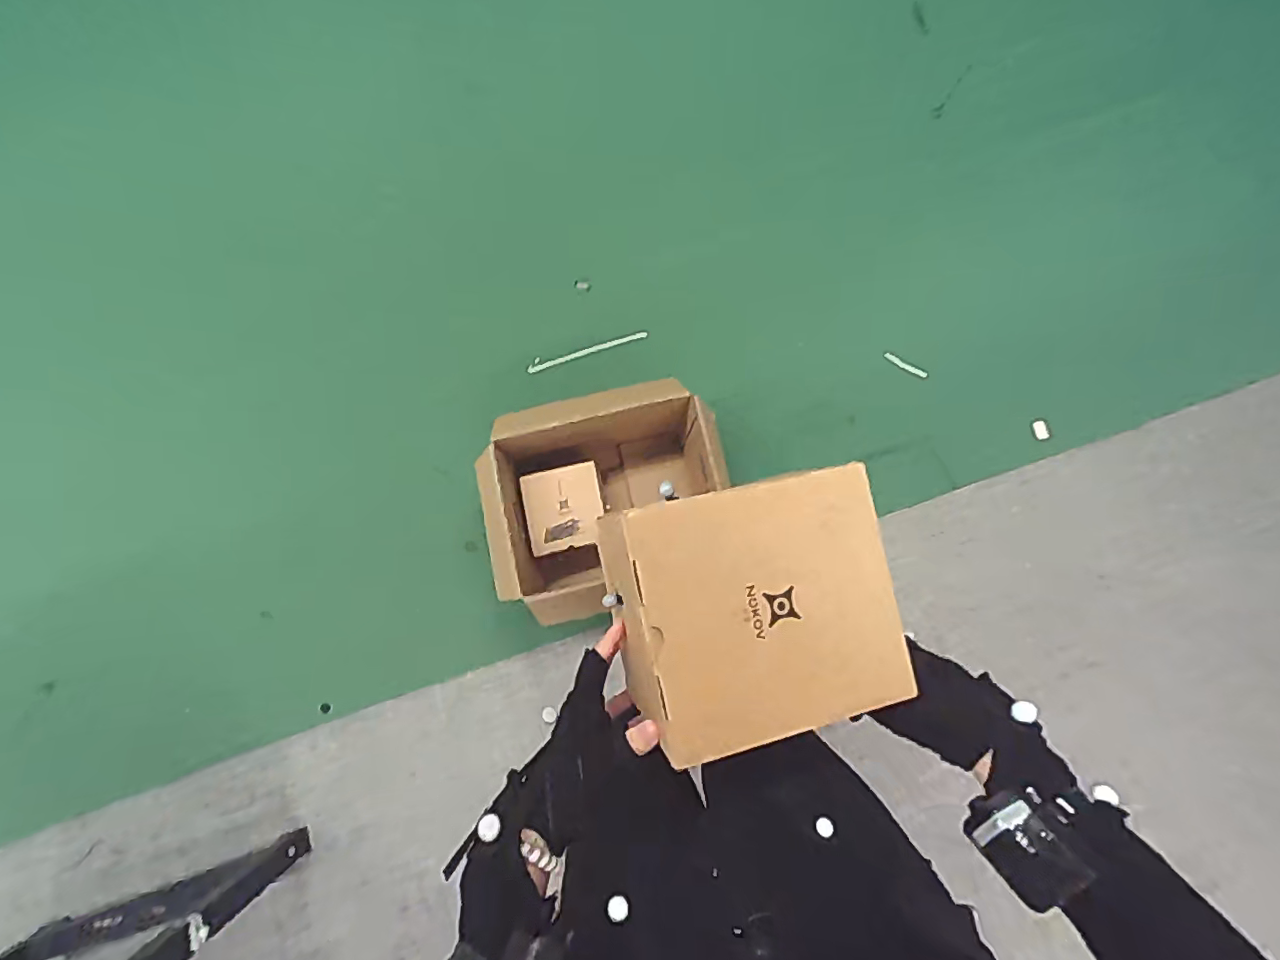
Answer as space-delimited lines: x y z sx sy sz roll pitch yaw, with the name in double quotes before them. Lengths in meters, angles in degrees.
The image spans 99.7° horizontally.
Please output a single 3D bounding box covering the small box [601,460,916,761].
"small box" 0.076 0.086 0.433 0.179 0.176 0.168 -12 87 -11
